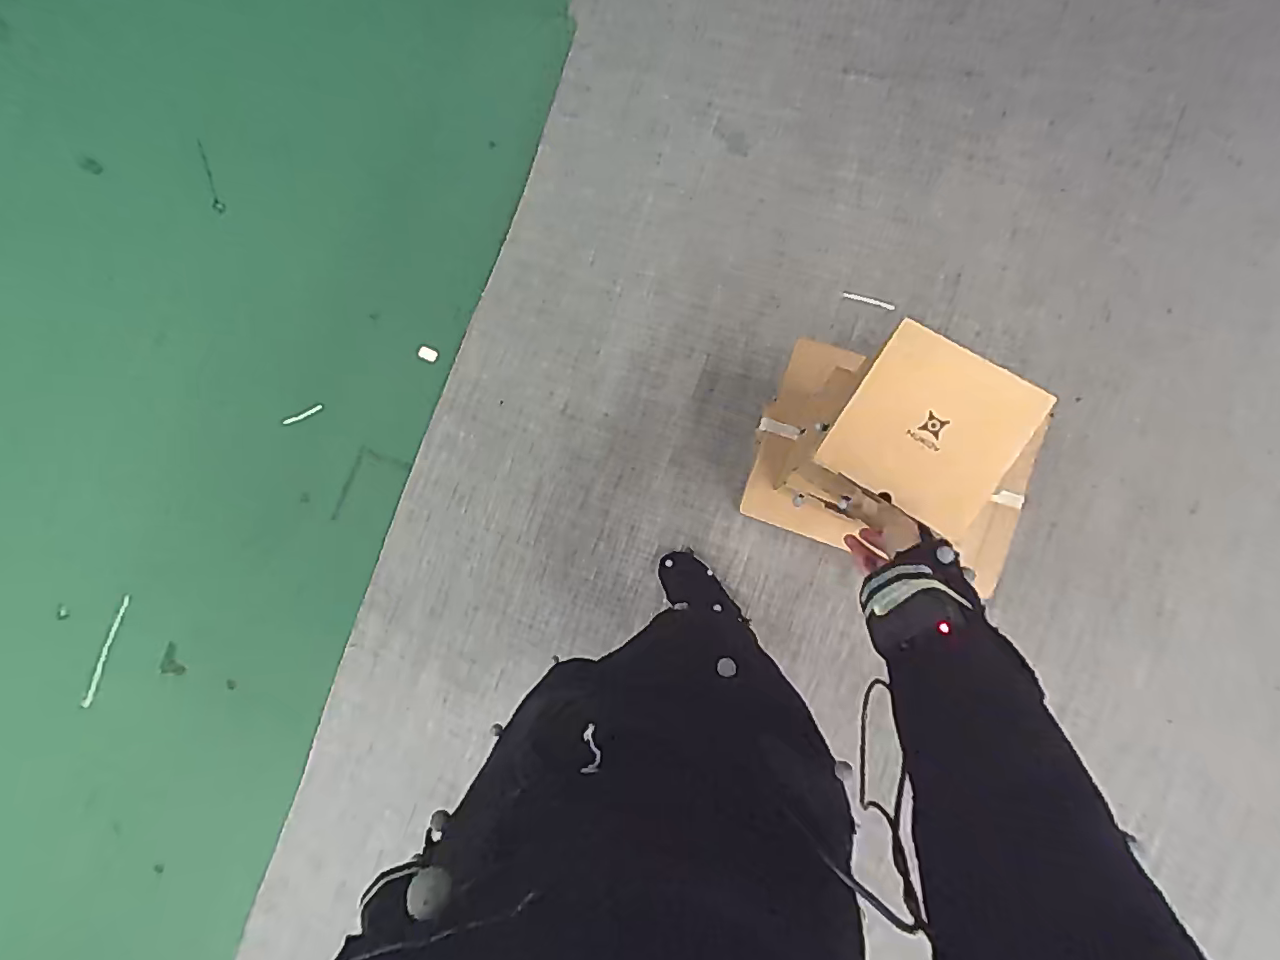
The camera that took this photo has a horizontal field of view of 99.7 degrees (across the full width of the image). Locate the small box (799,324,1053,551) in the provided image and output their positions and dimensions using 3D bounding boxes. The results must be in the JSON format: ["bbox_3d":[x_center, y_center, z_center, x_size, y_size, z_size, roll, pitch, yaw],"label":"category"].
[{"bbox_3d":[0.301,-0.040,0.616,0.168,0.176,0.179,33,92,10],"label":"small box"}]

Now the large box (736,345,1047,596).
[{"bbox_3d":[0.419,-0.013,1.008,0.408,0.320,0.320,19,90,9],"label":"large box"}]
